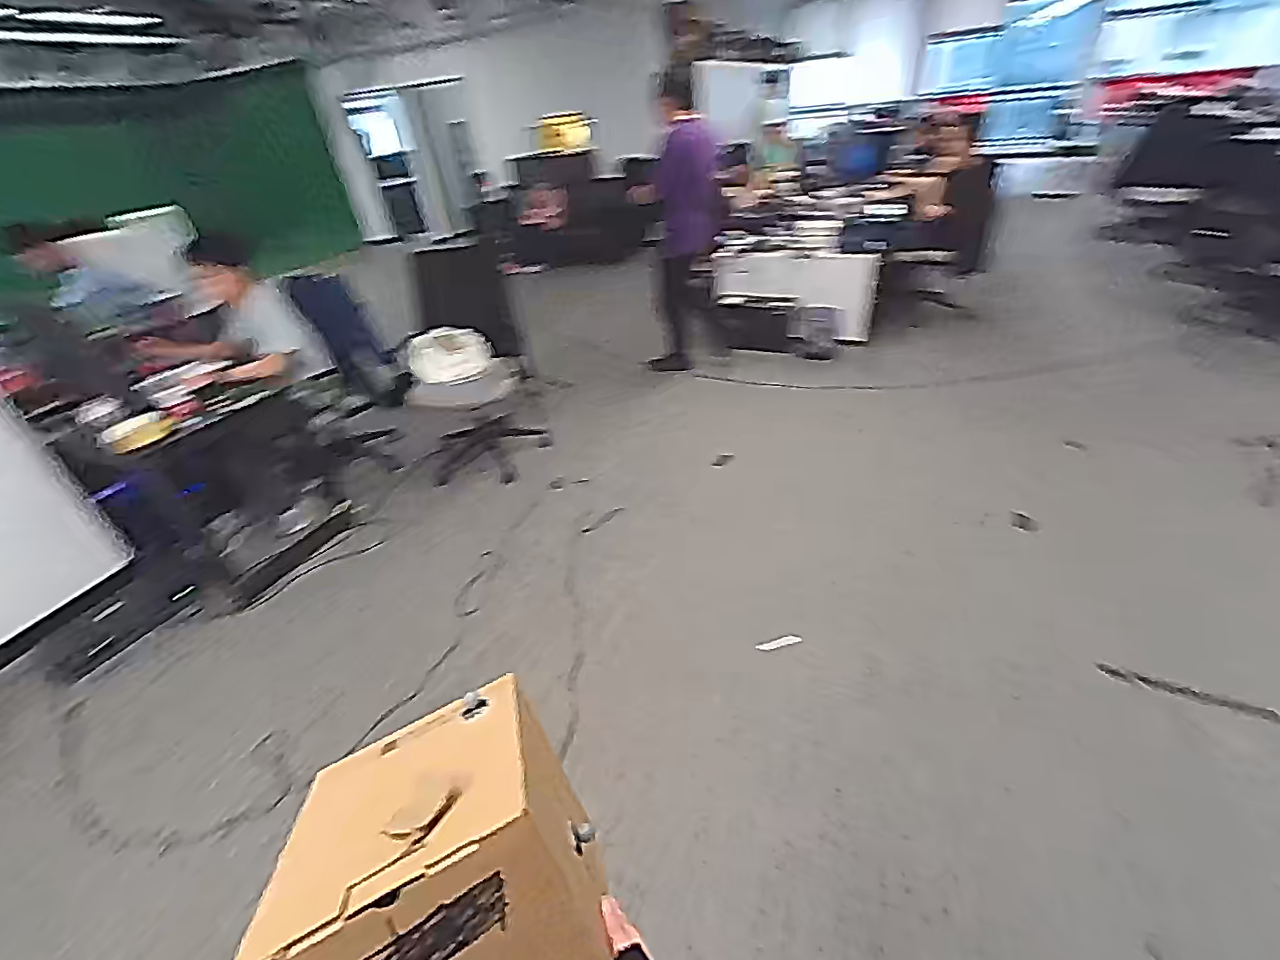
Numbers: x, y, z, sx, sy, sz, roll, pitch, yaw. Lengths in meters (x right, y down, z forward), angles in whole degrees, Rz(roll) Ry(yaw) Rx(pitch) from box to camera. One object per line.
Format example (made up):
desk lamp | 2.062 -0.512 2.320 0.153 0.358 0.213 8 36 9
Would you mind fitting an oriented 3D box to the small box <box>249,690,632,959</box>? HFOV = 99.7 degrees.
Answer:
small box | -0.121 0.280 0.385 0.168 0.179 0.176 -24 14 -10
